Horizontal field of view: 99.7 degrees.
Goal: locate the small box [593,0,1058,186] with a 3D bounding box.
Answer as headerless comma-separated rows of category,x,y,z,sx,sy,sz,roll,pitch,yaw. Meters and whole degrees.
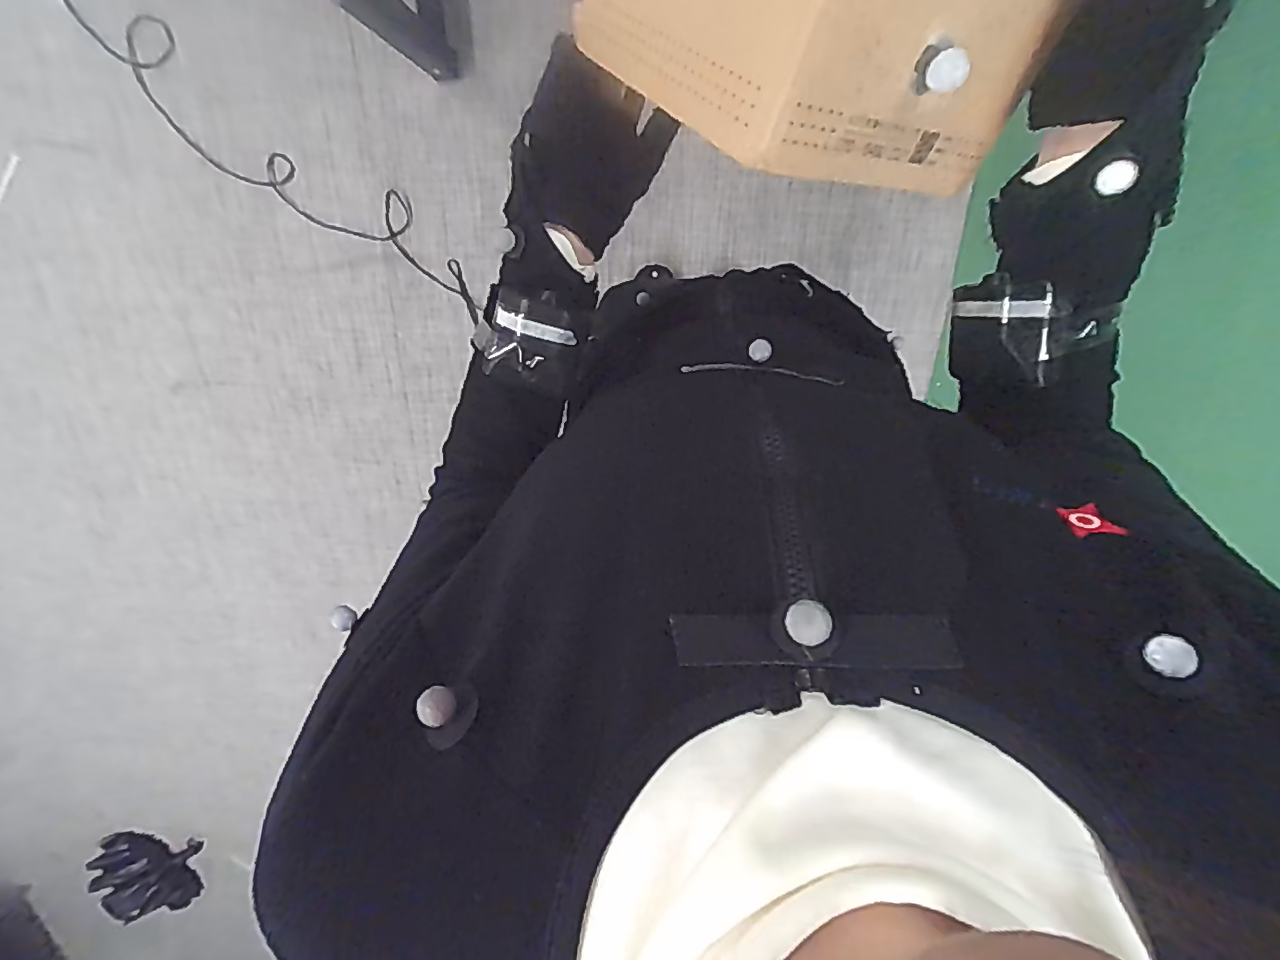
small box,0.095,-0.272,0.267,0.168,0.179,0.176,-15,144,-32
